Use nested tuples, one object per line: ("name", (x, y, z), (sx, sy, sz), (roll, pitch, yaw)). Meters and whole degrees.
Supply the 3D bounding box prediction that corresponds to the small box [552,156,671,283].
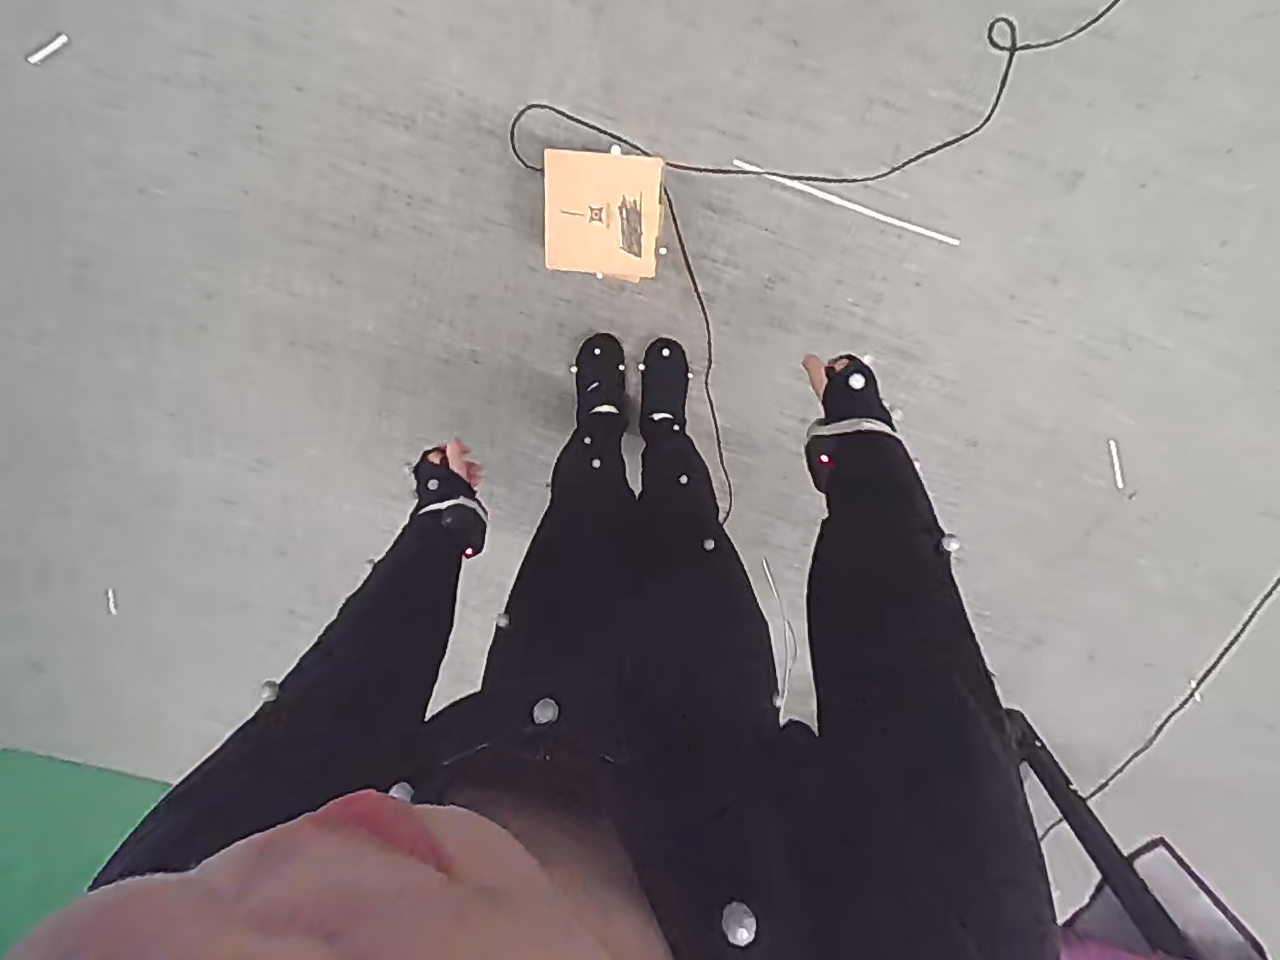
("small box", (-0.043, -0.430, 0.896), (0.179, 0.176, 0.168), (6, 116, 3))
